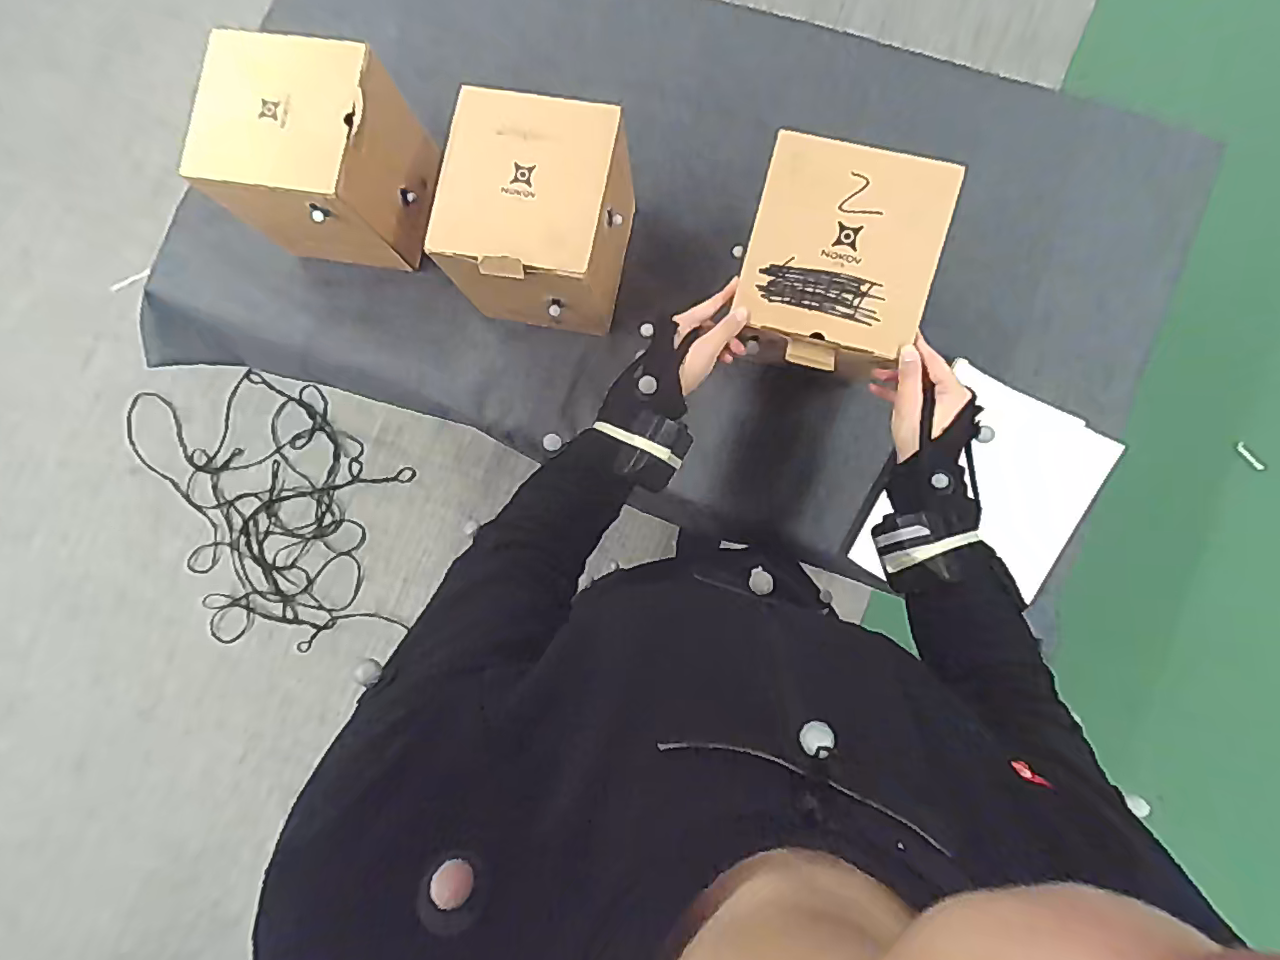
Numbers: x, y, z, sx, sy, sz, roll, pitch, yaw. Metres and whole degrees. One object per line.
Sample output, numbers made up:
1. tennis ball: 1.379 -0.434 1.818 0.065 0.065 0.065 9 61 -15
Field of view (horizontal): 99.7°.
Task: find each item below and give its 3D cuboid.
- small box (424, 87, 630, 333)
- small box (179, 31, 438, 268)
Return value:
1. small box: -0.109 -0.282 0.601 0.168 0.176 0.179 11 85 4
2. small box: -0.365 -0.367 0.628 0.179 0.176 0.168 9 85 5
